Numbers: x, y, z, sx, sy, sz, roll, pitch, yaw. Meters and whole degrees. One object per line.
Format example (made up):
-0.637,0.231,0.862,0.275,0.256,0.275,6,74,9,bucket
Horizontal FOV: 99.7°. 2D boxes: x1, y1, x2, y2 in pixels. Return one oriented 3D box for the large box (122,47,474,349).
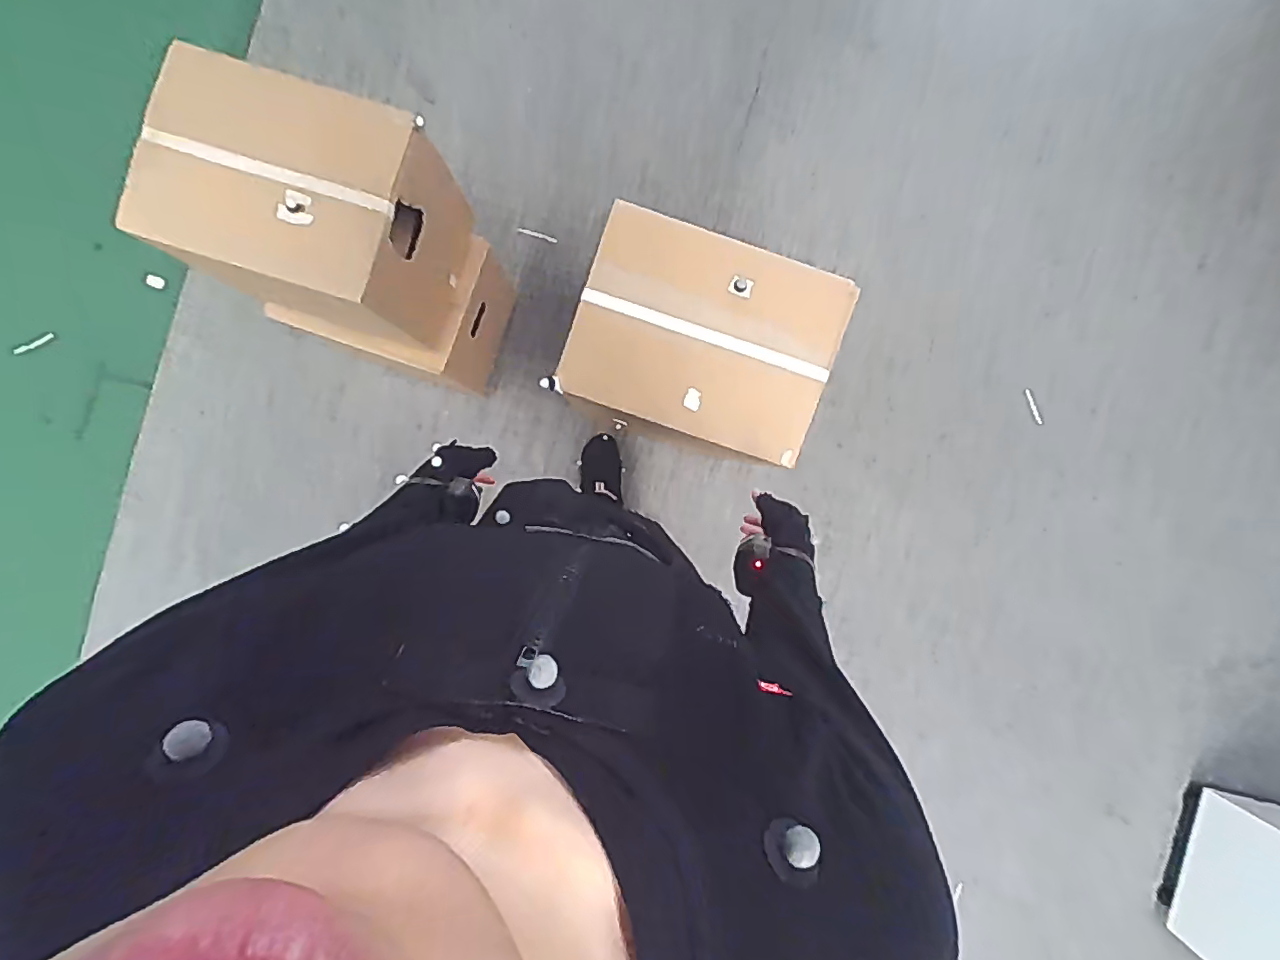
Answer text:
-0.580,-0.479,0.996,0.408,0.320,0.320,17,88,-1,large box
